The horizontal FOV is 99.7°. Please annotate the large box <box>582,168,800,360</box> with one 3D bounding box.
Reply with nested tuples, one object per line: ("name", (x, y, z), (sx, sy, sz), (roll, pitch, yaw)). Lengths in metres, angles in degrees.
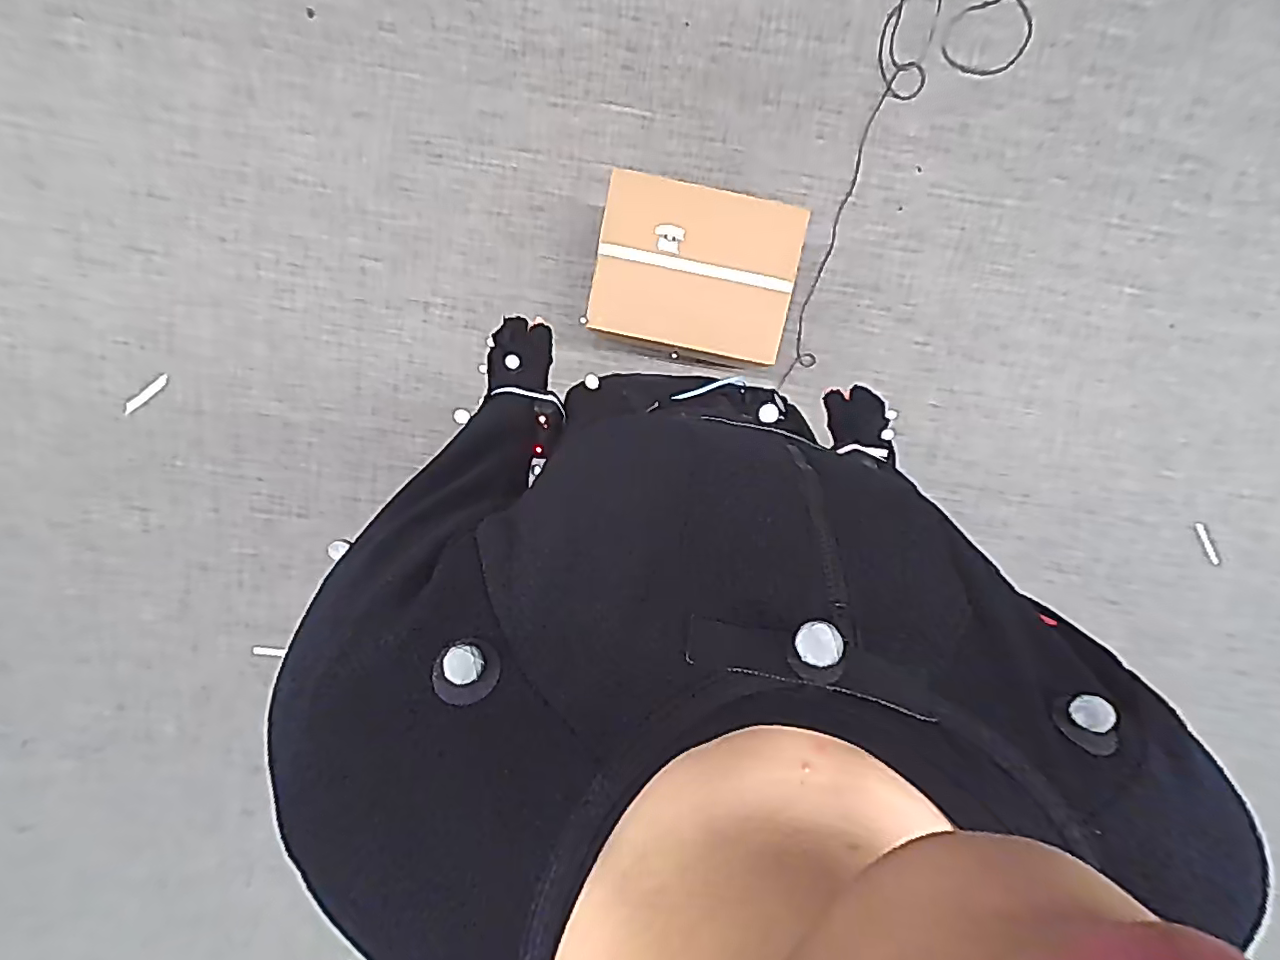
("large box", (0.103, -0.467, 1.248), (0.408, 0.320, 0.320), (11, 100, -2))
